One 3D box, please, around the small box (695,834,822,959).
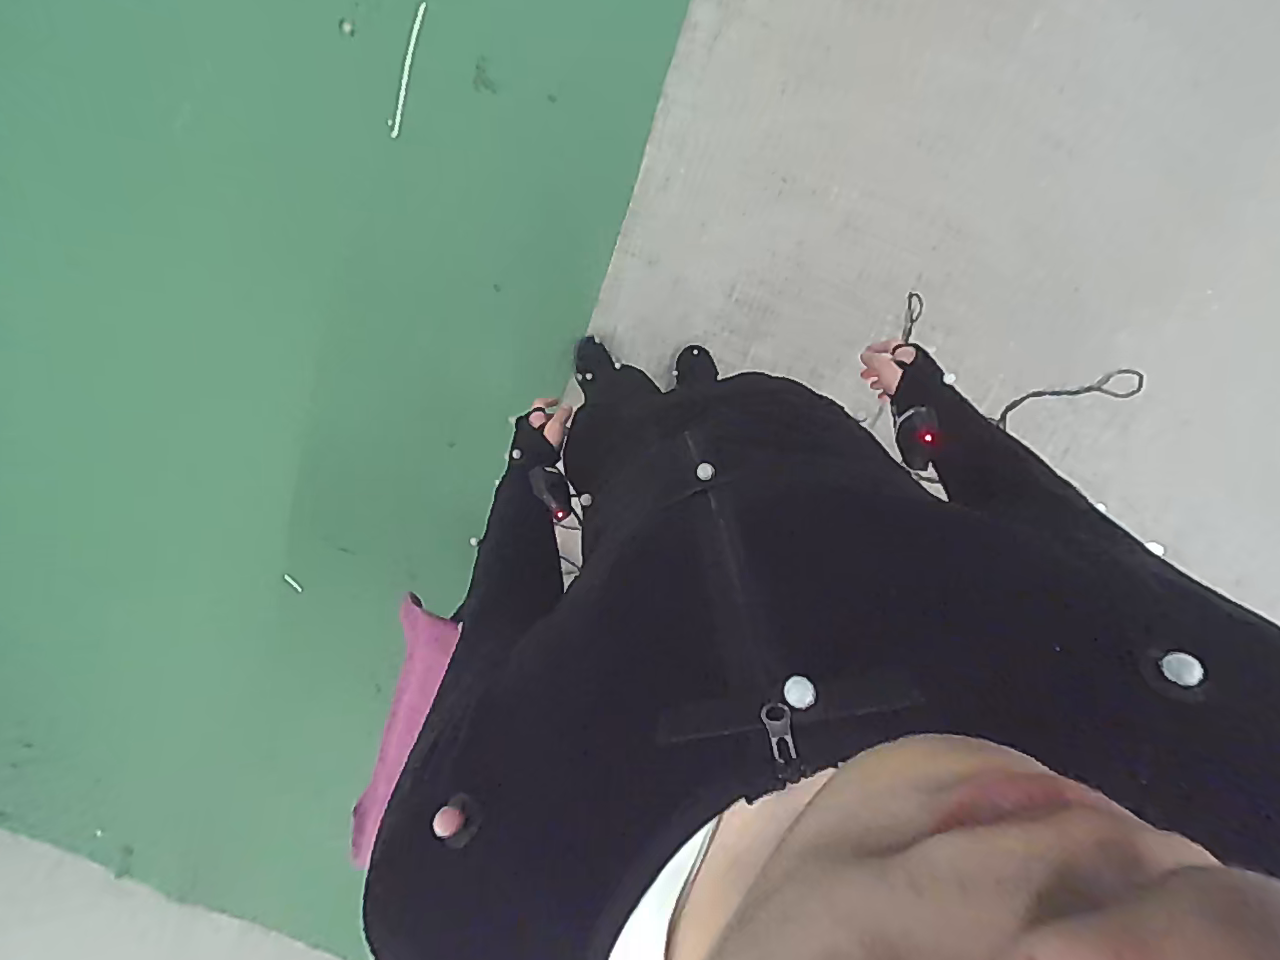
[{"bbox_3d":[0.212,0.817,1.022,0.179,0.176,0.168,21,107,-1],"label":"small box"}]
